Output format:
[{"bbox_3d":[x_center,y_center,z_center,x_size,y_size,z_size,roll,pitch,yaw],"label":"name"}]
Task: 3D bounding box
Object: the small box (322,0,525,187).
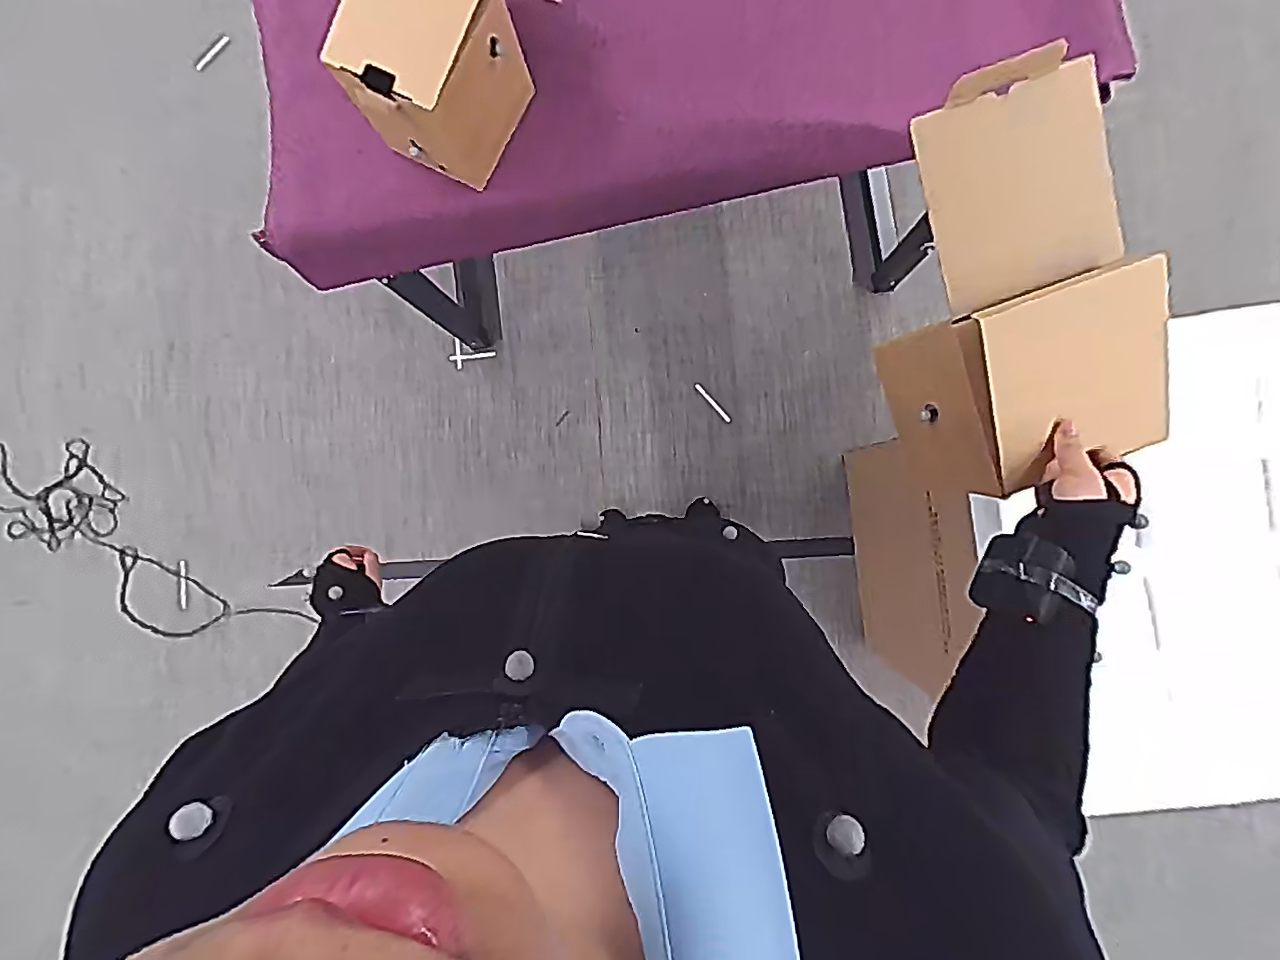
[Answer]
[{"bbox_3d":[-0.275,-0.549,0.736,0.168,0.176,0.179,27,89,6],"label":"small box"}]
